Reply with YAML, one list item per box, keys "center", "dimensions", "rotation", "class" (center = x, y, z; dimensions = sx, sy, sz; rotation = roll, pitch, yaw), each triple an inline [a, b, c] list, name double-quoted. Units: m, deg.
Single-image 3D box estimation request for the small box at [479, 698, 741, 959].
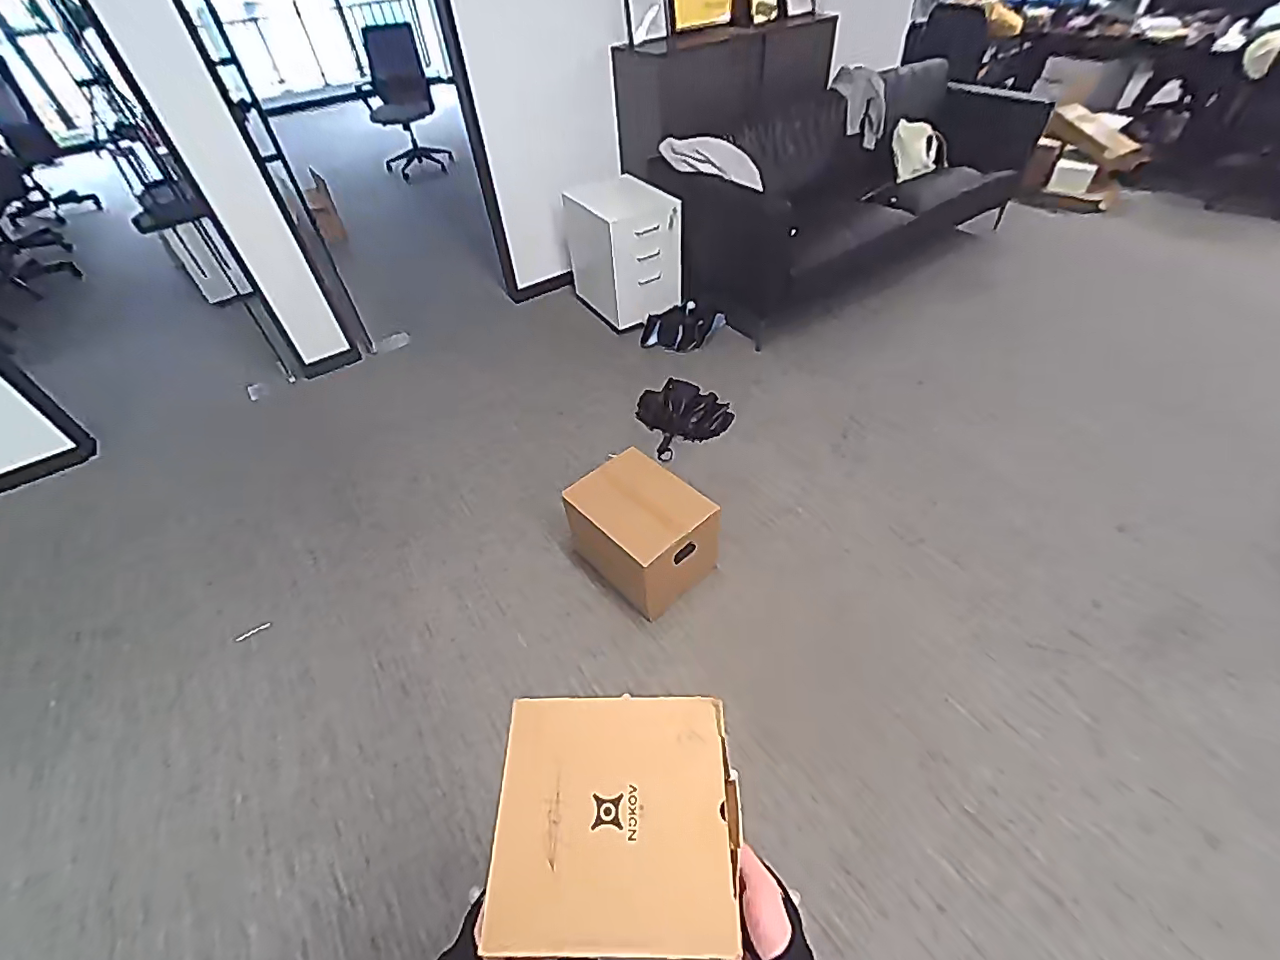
- center: [-0.016, 0.297, 0.465]
  dimensions: [0.179, 0.176, 0.168]
  rotation: [-3, 51, 3]
  class: "small box"
